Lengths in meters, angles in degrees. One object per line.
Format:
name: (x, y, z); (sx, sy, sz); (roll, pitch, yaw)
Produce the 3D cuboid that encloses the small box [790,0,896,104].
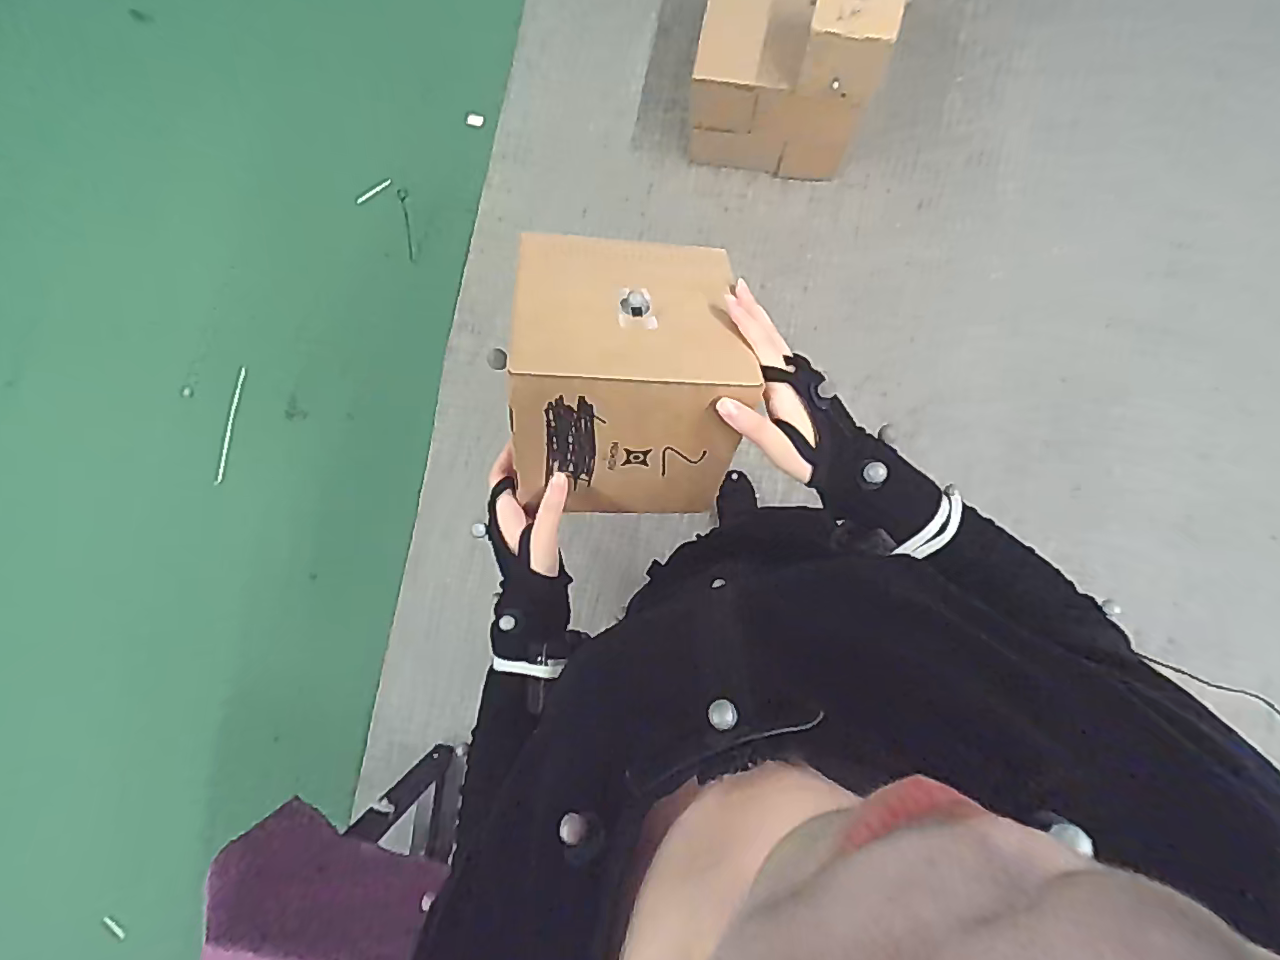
small box: (0.418, -0.932, 1.120); (0.168, 0.176, 0.179); (13, 88, 6)
